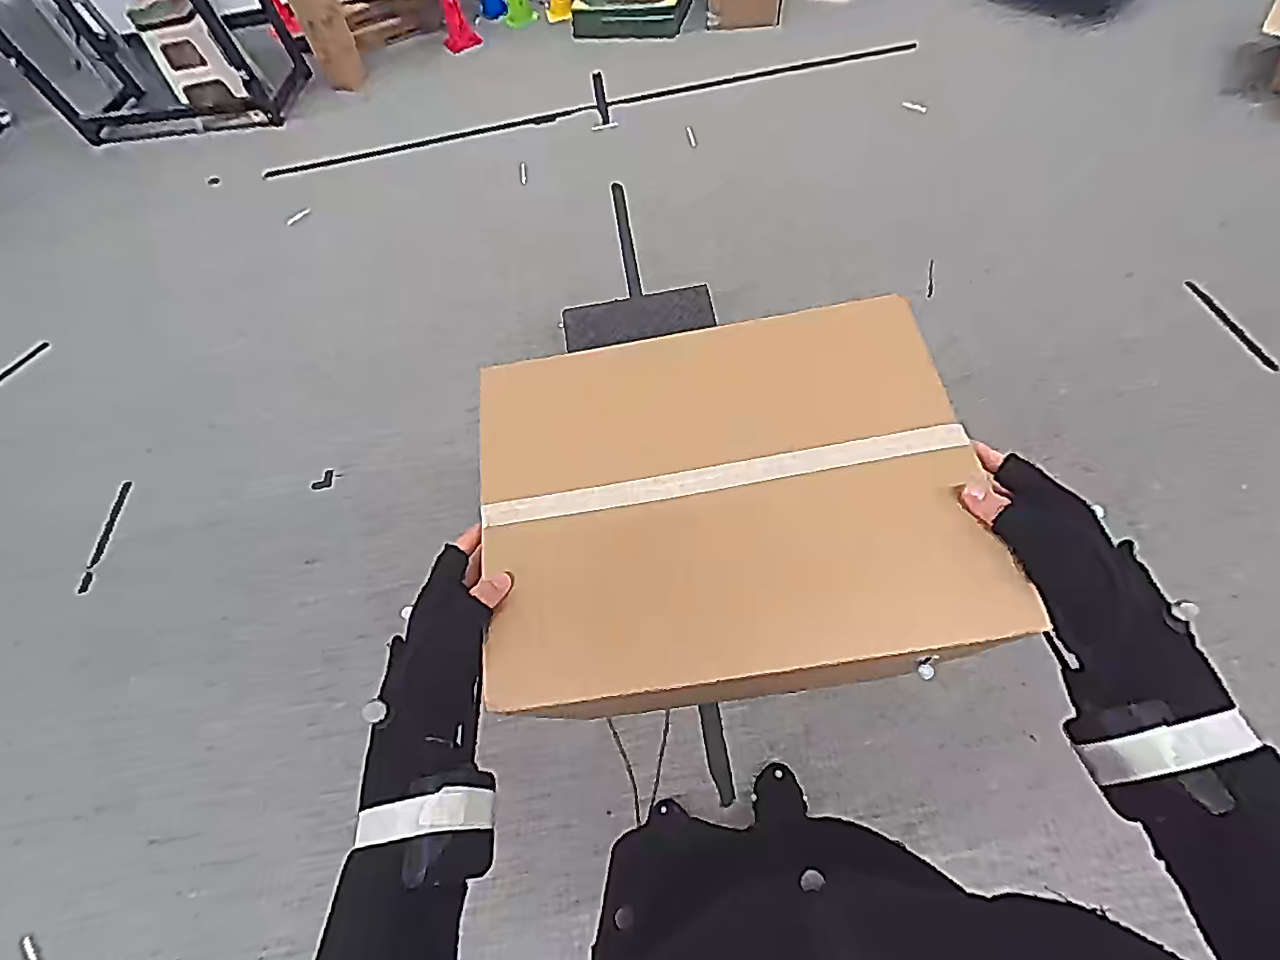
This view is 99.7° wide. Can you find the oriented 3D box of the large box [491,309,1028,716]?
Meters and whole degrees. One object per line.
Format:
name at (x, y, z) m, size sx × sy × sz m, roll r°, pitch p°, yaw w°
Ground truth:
large box at (0.086, 0.066, 0.595) m, size 0.408 × 0.320 × 0.320 m, roll -9°, pitch 64°, yaw 3°
